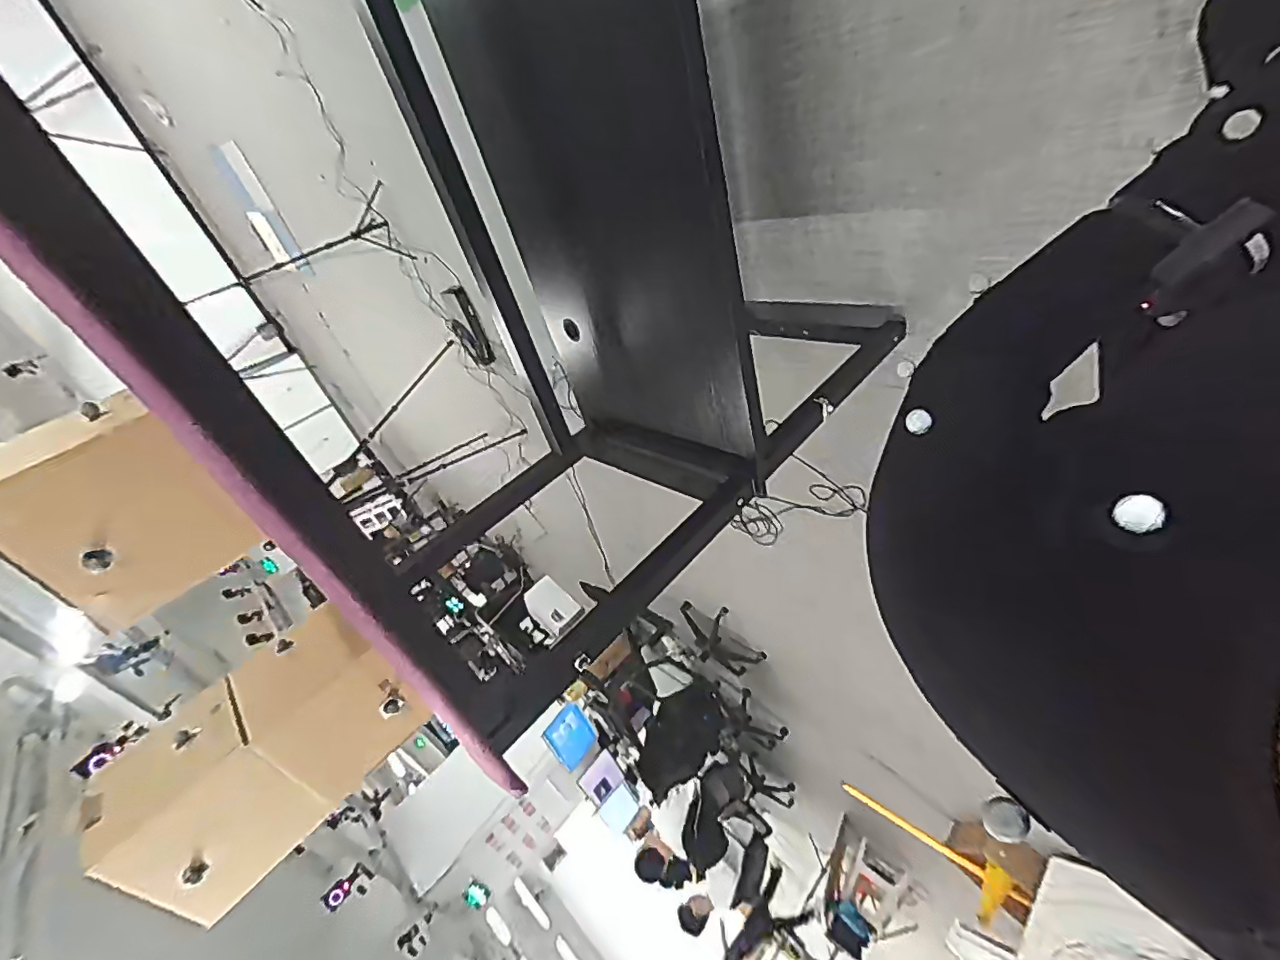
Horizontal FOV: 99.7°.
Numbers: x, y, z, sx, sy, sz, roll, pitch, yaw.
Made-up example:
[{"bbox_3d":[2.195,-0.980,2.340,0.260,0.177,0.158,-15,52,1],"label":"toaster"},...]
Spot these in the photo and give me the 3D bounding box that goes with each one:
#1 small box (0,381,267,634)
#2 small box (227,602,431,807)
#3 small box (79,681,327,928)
[{"bbox_3d":[-0.545,0.020,0.579,0.168,0.176,0.179,23,142,43],"label":"small box"},{"bbox_3d":[-0.426,0.299,0.757,0.179,0.176,0.168,17,139,45],"label":"small box"},{"bbox_3d":[-0.537,0.398,0.685,0.168,0.176,0.179,17,139,45],"label":"small box"}]
